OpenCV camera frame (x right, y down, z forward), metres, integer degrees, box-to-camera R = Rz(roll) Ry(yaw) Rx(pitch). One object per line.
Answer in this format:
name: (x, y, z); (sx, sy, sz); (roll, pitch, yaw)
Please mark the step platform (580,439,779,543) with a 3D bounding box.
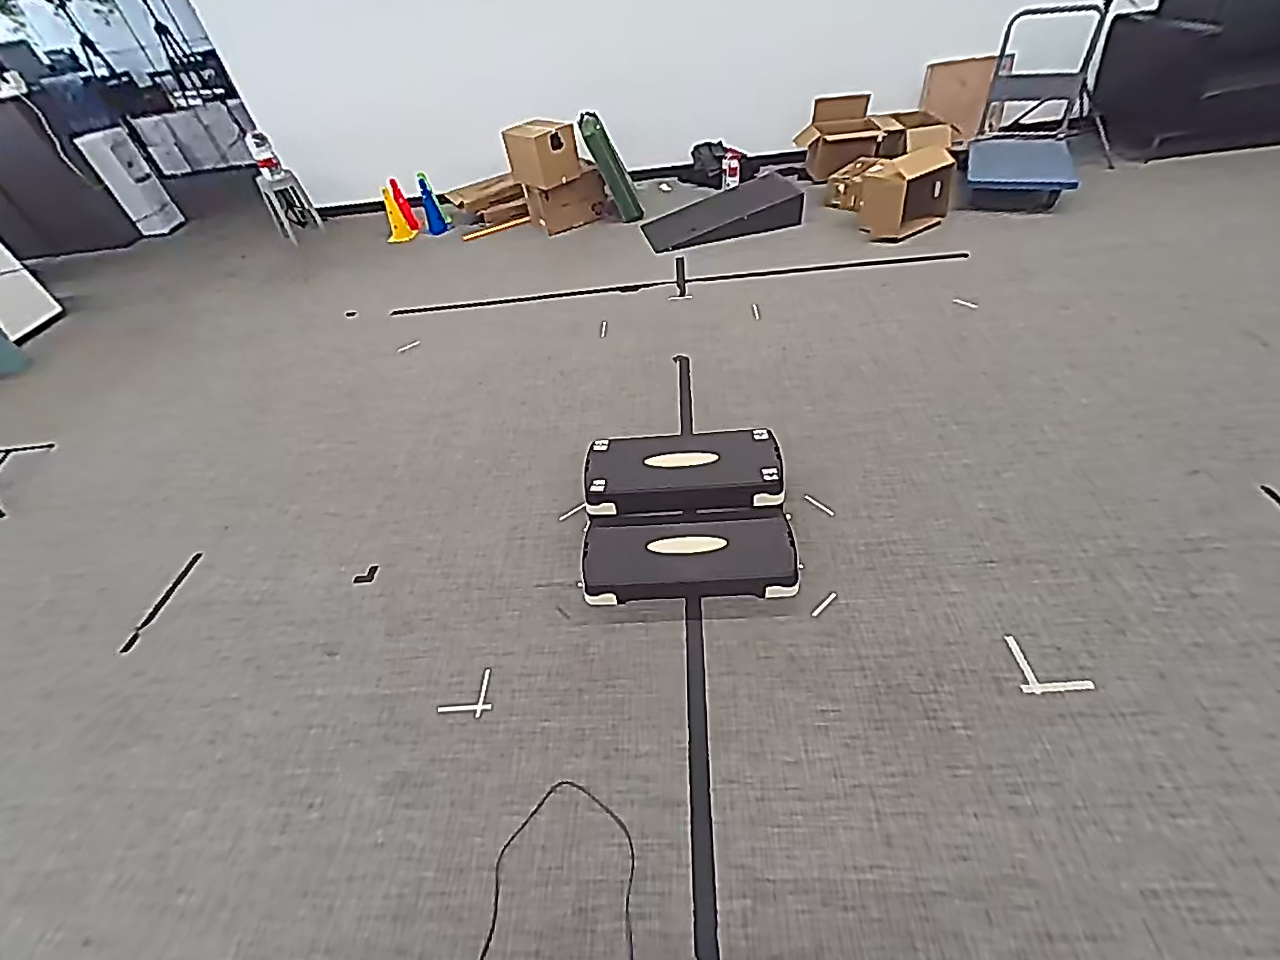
step platform: (0.132, 0.033, 1.885); (0.684, 0.204, 0.286); (-4, 45, 4)
